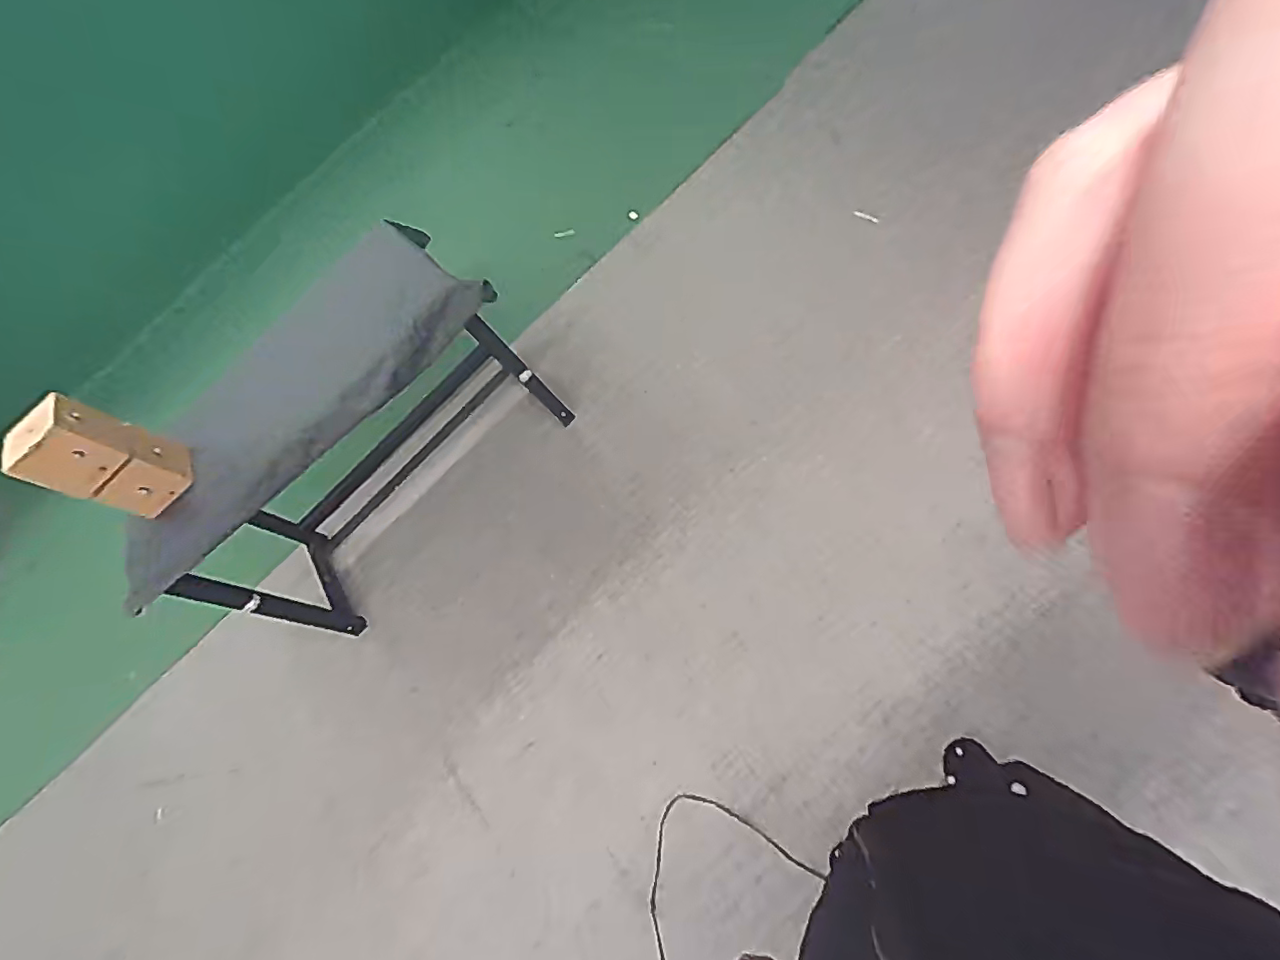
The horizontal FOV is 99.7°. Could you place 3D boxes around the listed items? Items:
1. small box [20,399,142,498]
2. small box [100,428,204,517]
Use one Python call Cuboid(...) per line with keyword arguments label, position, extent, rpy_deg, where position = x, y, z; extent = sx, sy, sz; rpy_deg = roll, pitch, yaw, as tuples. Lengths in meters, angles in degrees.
Cuboid(label="small box", position=(-1.474, -0.075, 1.437), extent=(0.168, 0.176, 0.179), rpy_deg=(-45, 54, -3))
Cuboid(label="small box", position=(-1.419, -0.012, 1.577), extent=(0.168, 0.176, 0.179), rpy_deg=(-43, 55, -2))
